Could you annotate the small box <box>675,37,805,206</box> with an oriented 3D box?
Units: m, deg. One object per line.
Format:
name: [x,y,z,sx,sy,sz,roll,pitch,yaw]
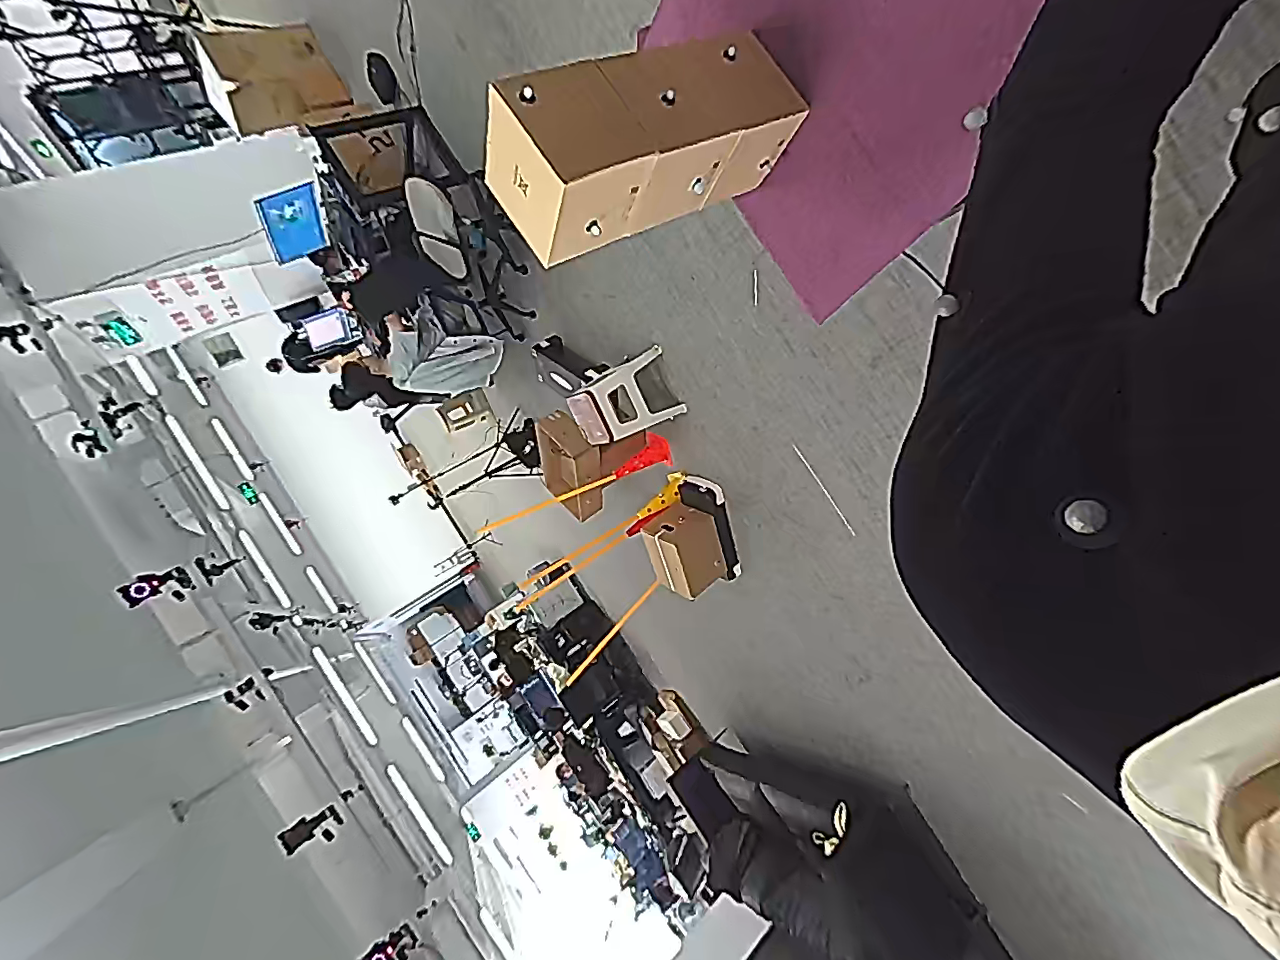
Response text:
small box: [0.144,-0.621,0.936,0.179,0.176,0.168,55,155,3]

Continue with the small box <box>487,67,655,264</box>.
small box: [-0.104,-0.462,0.796,0.179,0.176,0.168,55,155,5]

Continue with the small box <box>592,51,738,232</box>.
small box: [0.019,-0.542,0.865,0.179,0.176,0.168,55,155,4]
